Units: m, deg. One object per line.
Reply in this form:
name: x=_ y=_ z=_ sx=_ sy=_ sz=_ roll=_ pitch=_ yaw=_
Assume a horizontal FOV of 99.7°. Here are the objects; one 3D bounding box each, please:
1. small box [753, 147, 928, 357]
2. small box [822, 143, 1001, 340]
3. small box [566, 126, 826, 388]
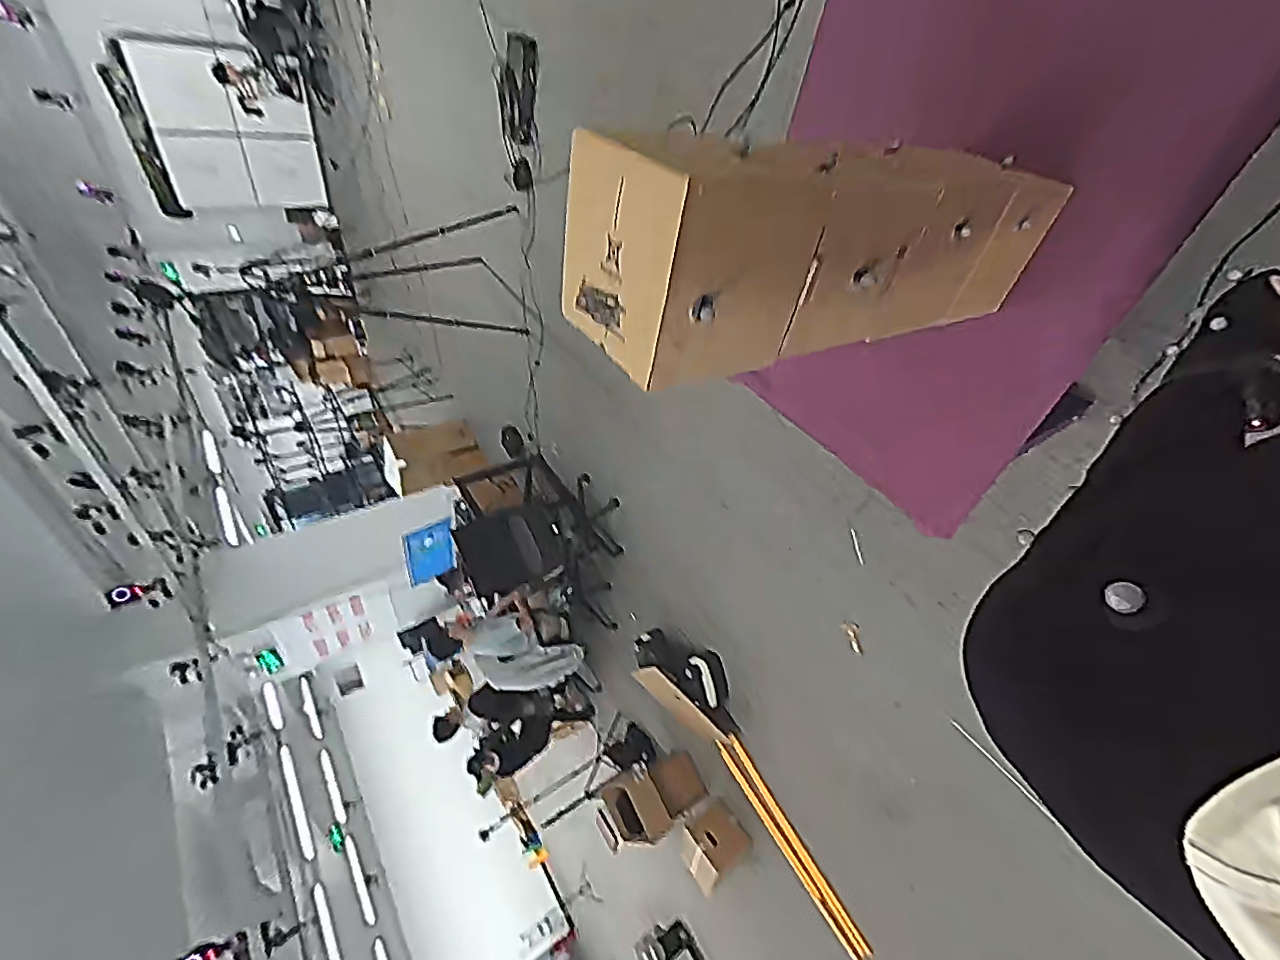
small box: x=0.177 y=-0.263 z=0.606 sx=0.179 sy=0.176 sz=0.168 roll=47 pitch=141 yaw=34
small box: x=0.313 y=-0.305 z=0.686 sx=0.168 sy=0.176 sz=0.179 roll=48 pitch=143 yaw=34
small box: x=0.045 y=-0.216 z=0.519 sx=0.168 sy=0.176 sz=0.179 roll=47 pitch=141 yaw=35
